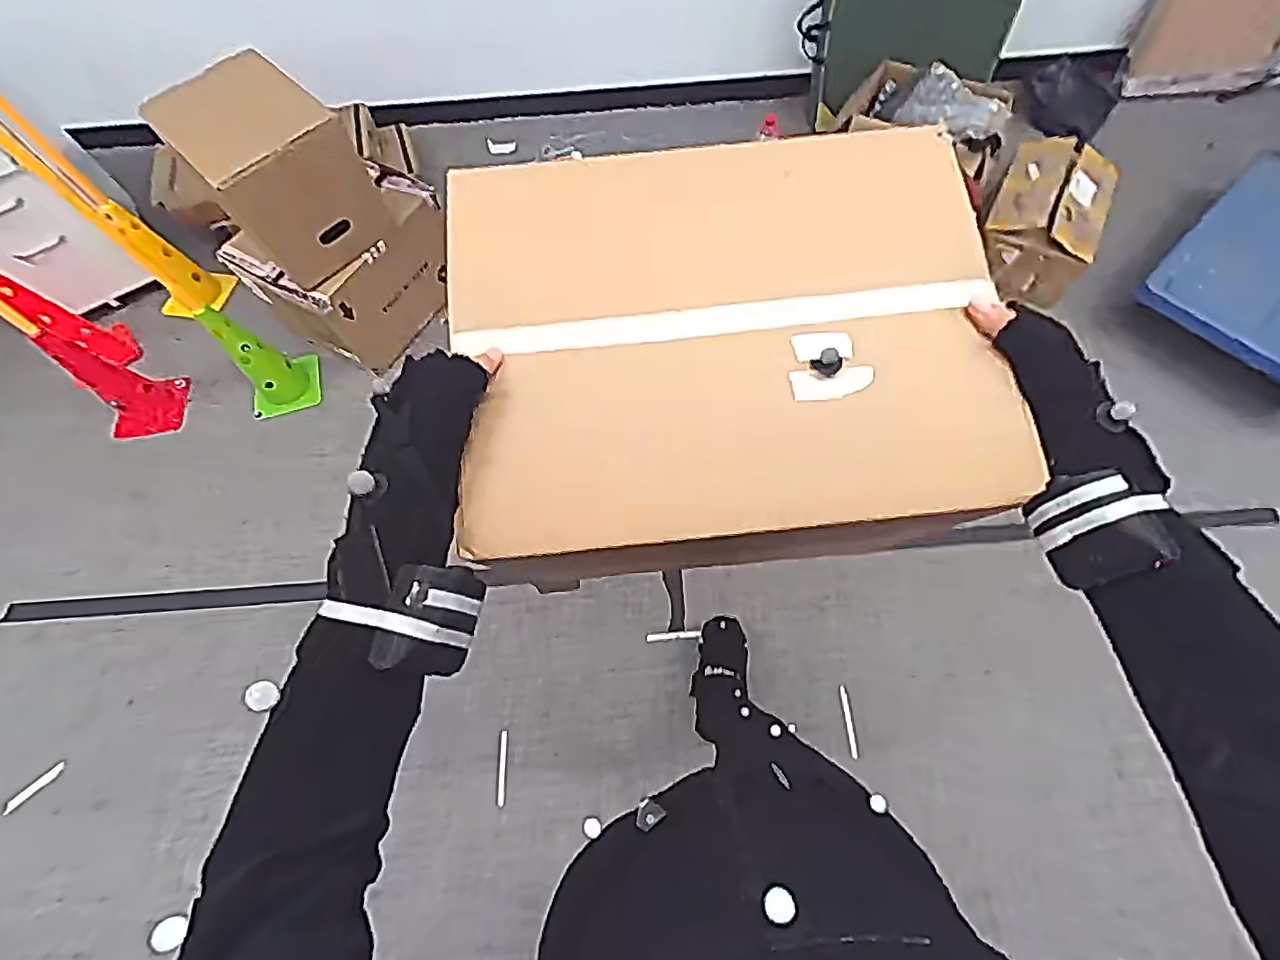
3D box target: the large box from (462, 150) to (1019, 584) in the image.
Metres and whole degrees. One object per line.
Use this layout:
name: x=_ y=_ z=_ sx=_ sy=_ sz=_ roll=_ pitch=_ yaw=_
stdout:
large box: x=0.064 y=-0.078 z=0.568 sx=0.408 sy=0.320 sz=0.320 roll=-6 pitch=77 yaw=-1
